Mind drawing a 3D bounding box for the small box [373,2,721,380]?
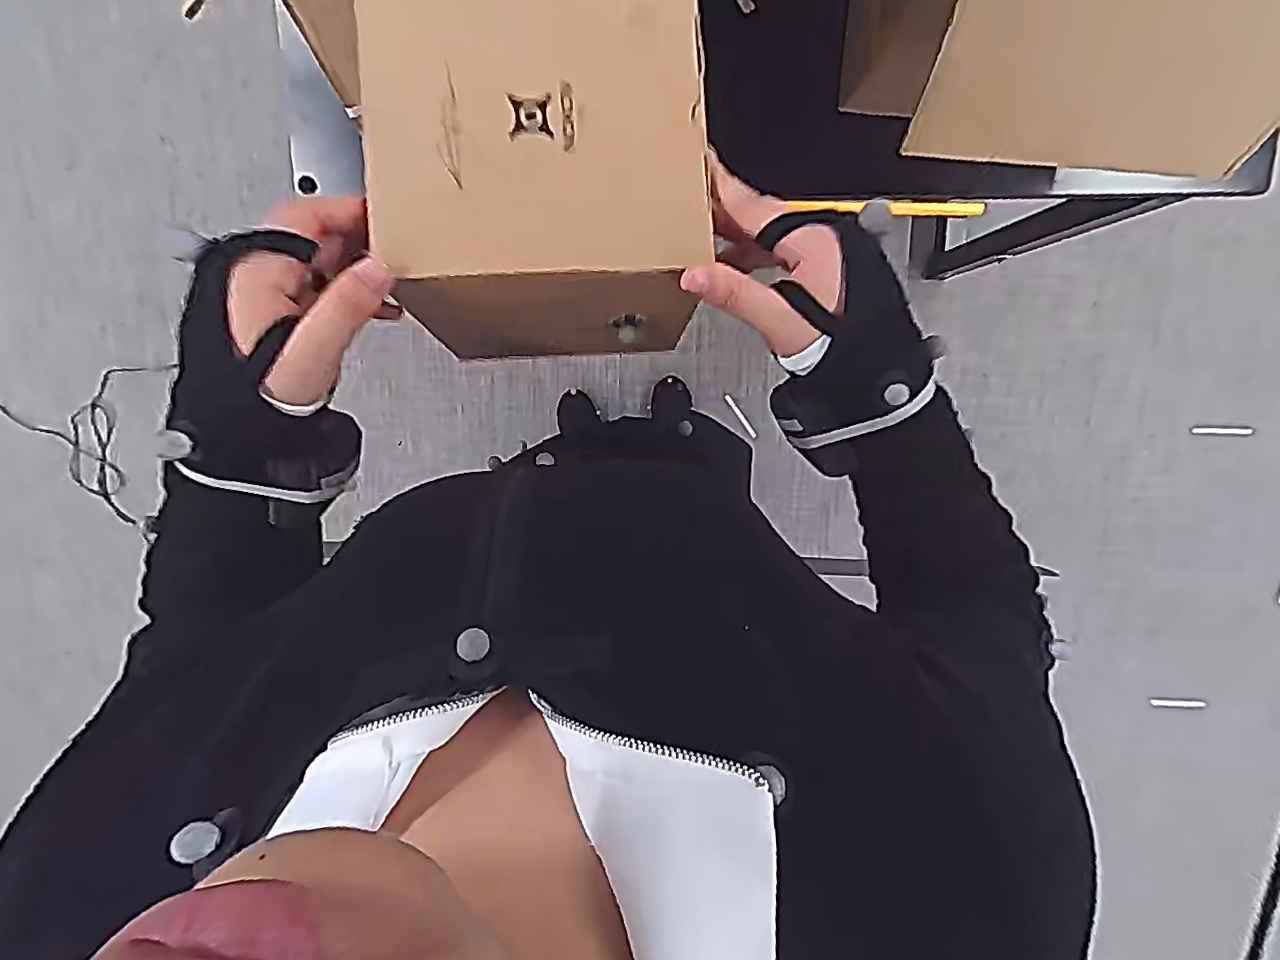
[{"bbox_3d":[-0.053,-0.168,0.365,0.179,0.176,0.168,-4,89,-3],"label":"small box"}]
